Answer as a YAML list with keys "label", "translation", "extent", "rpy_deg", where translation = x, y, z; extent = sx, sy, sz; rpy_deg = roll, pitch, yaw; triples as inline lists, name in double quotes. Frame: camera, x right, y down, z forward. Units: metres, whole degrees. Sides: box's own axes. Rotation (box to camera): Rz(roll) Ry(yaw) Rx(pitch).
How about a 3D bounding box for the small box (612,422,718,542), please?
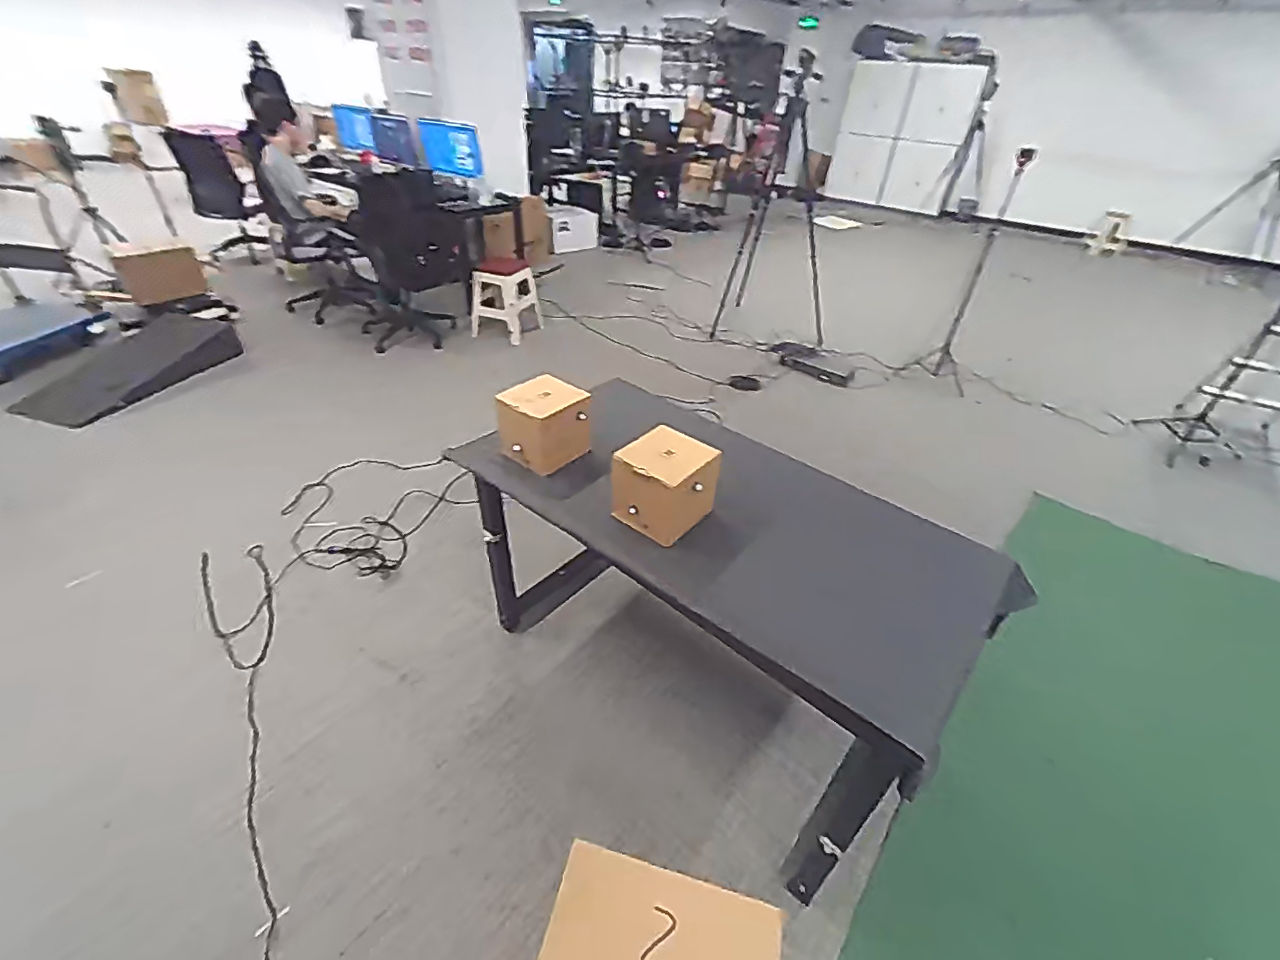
- label: "small box"
  translation: [0.048, 0.003, 1.203]
  extent: [0.168, 0.176, 0.179]
  rpy_deg: [29, 44, 28]

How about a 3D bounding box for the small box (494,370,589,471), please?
- label: "small box"
  translation: [-0.248, -0.152, 1.372]
  extent: [0.168, 0.176, 0.179]
  rpy_deg: [28, 43, 28]
